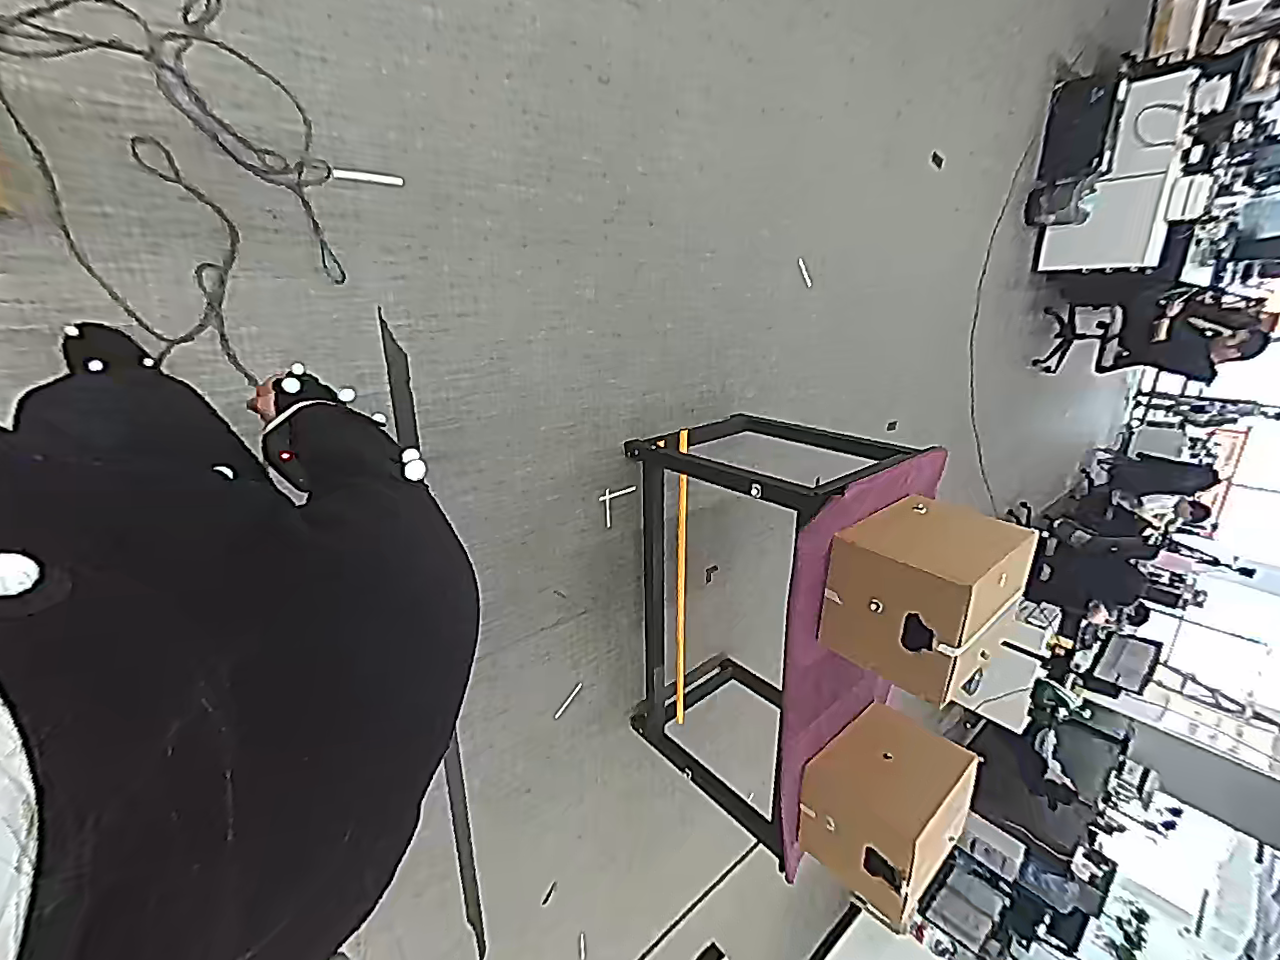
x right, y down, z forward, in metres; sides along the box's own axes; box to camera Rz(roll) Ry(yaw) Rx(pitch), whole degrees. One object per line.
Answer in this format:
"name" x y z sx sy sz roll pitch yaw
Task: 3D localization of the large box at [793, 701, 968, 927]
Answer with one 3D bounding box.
"large box" 0.690 0.932 1.570 0.408 0.320 0.320 -17 115 -38
